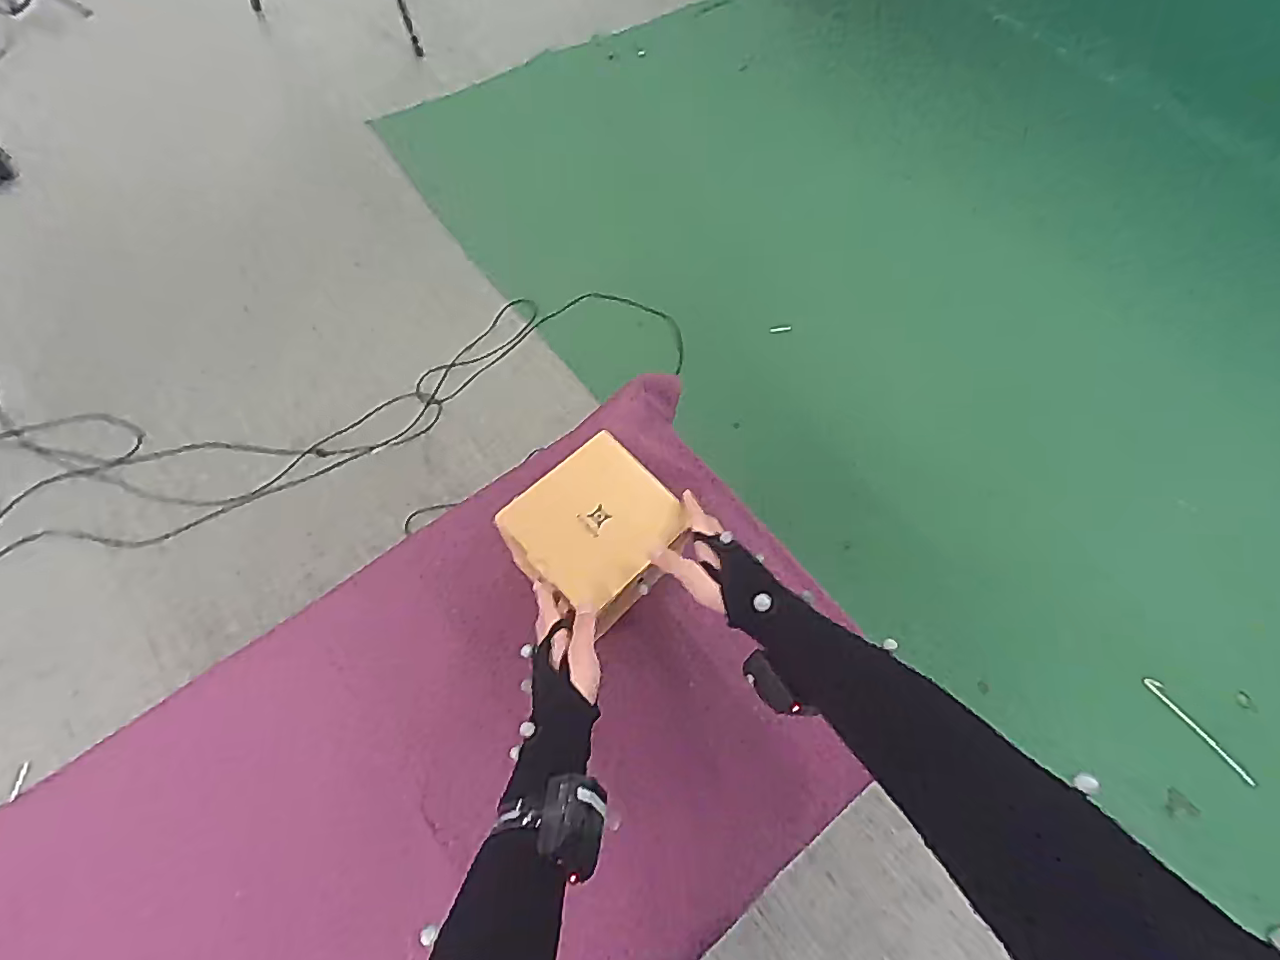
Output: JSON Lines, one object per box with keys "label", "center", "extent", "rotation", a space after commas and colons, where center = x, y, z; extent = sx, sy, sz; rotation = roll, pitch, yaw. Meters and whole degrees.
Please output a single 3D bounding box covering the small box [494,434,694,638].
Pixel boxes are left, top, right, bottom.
{"label": "small box", "center": [-0.057, 0.080, 0.697], "extent": [0.179, 0.176, 0.168], "rotation": [-42, 75, -17]}
